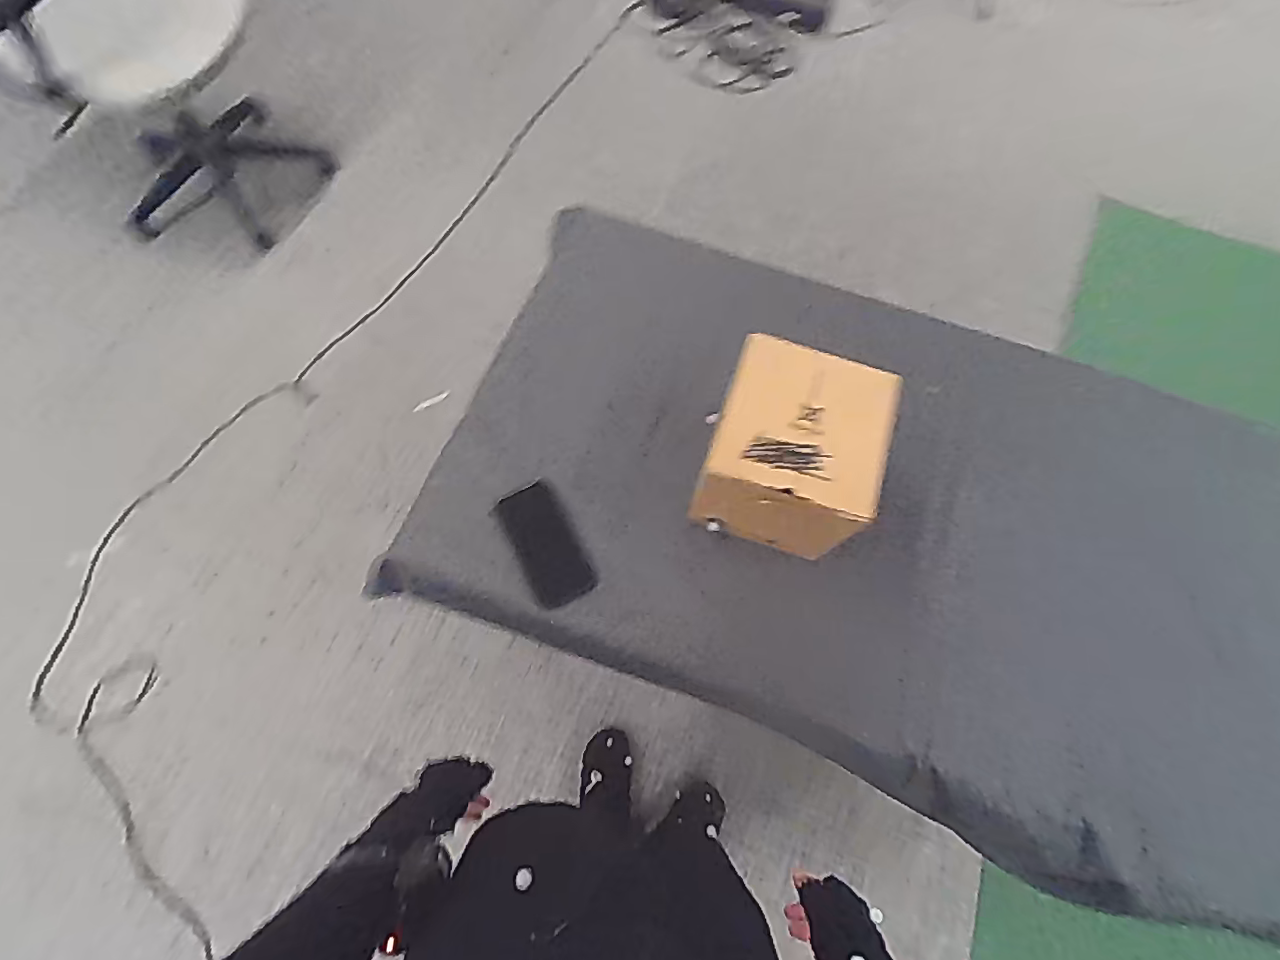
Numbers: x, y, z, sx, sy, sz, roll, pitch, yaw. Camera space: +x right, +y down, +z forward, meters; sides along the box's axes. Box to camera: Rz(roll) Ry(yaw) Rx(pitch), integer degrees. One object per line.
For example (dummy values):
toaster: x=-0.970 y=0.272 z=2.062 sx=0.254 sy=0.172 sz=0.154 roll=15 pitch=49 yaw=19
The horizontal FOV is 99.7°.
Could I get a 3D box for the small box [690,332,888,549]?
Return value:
small box: x=0.163 y=-0.036 z=0.638 sx=0.168 sy=0.176 sz=0.179 roll=18 pitch=69 yaw=4
